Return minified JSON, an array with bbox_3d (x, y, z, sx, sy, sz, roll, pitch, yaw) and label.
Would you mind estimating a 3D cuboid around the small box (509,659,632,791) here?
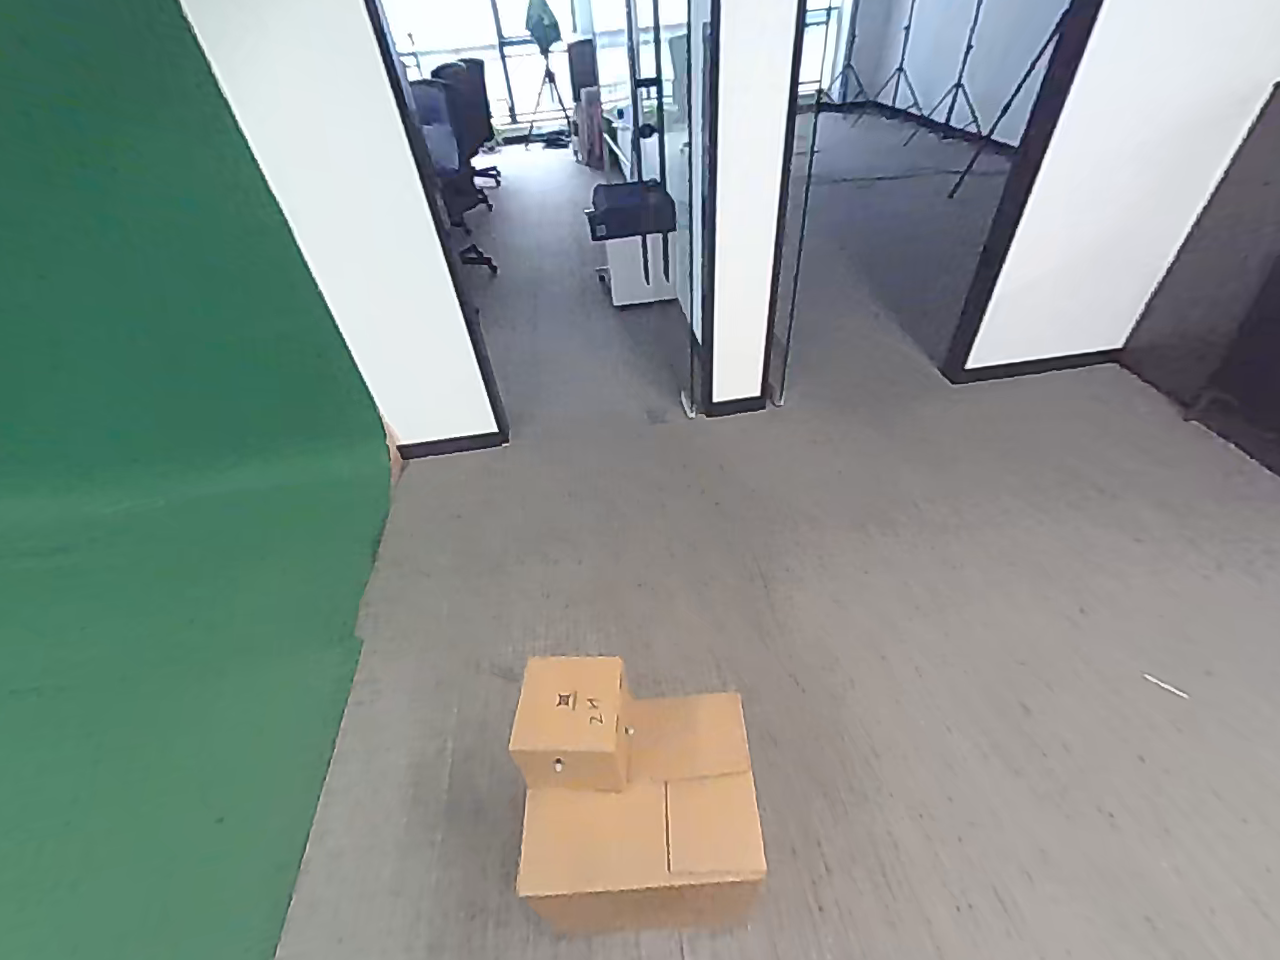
[{"bbox_3d":[-0.113,0.439,0.967,0.179,0.176,0.168,-1,42,5],"label":"small box"}]
